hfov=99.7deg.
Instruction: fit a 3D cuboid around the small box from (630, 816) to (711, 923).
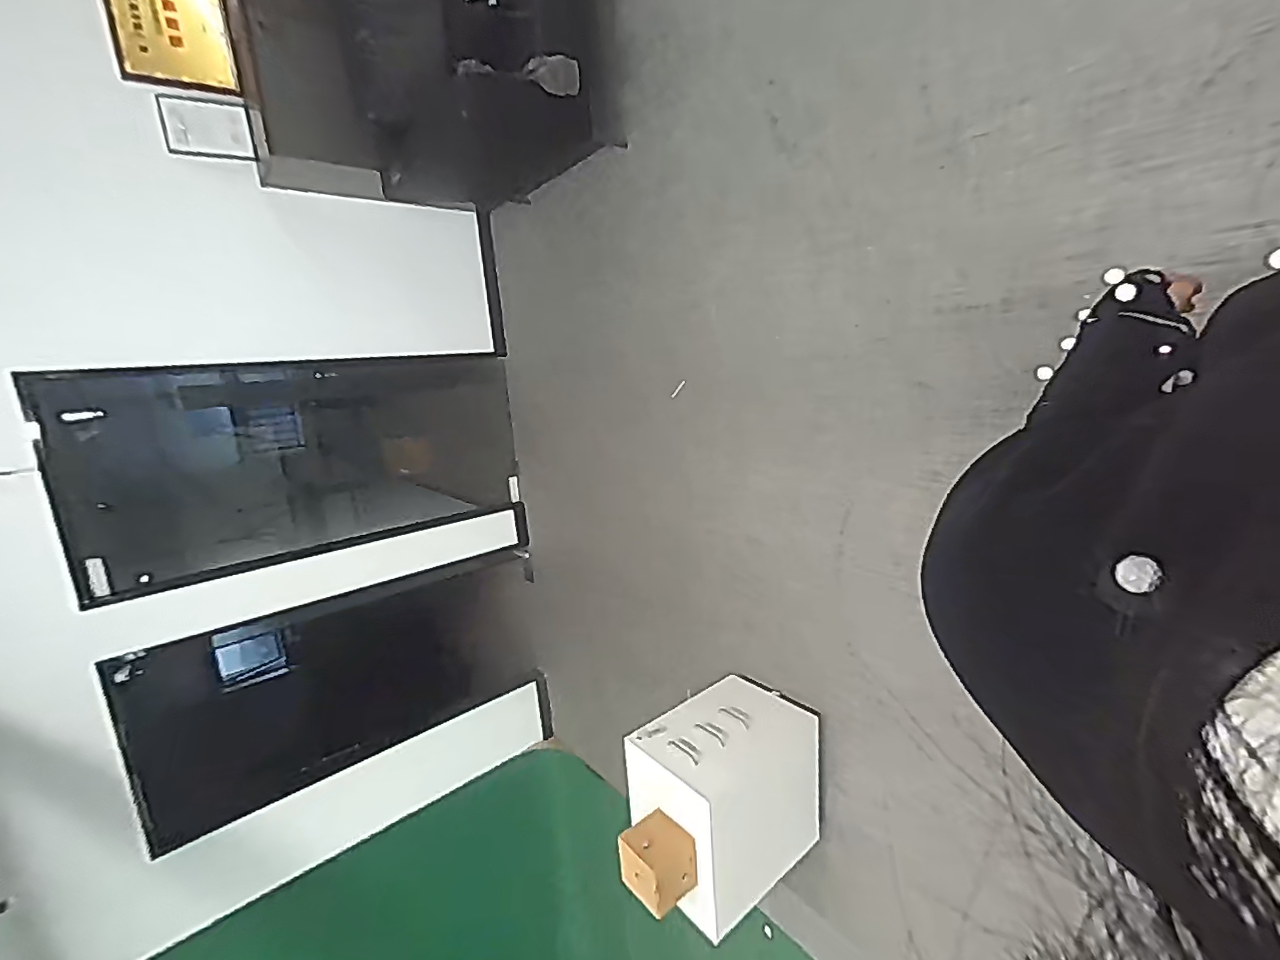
[{"bbox_3d":[0.093,1.165,1.638,0.179,0.176,0.168,7,106,51],"label":"small box"}]
